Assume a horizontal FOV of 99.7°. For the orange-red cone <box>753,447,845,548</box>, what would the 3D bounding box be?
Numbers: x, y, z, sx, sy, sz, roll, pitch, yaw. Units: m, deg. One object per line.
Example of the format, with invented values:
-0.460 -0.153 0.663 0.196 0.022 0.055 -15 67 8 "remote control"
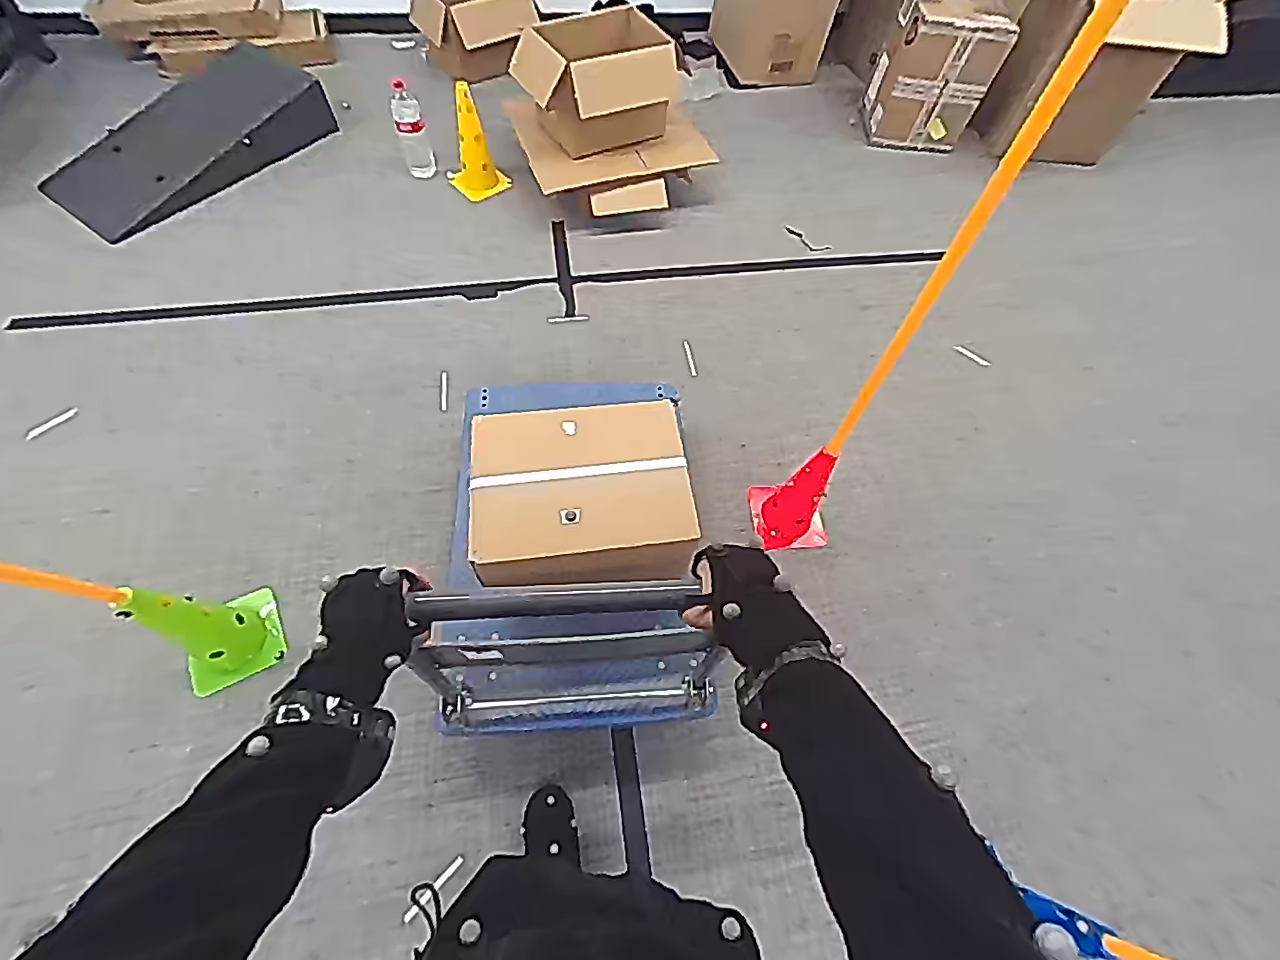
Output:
0.440 0.021 1.388 0.199 0.360 0.198 0 62 -6 "orange-red cone"
